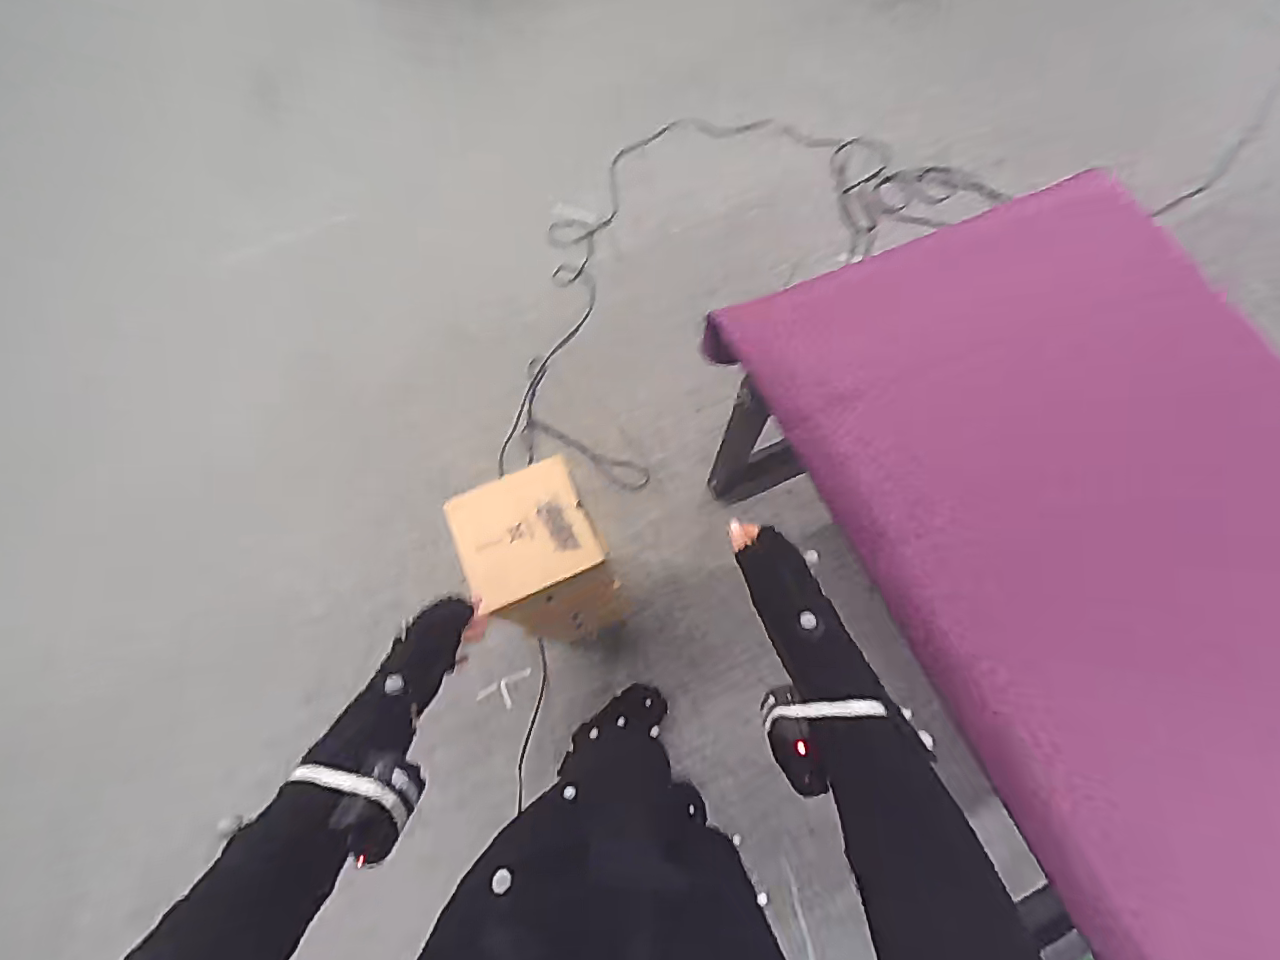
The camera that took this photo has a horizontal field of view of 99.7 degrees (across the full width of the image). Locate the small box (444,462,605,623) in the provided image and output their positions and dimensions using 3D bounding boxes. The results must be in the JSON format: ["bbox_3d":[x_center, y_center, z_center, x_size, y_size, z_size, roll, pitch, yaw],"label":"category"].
[{"bbox_3d":[-0.157,0.099,0.797,0.179,0.176,0.168,-22,72,-5],"label":"small box"}]
